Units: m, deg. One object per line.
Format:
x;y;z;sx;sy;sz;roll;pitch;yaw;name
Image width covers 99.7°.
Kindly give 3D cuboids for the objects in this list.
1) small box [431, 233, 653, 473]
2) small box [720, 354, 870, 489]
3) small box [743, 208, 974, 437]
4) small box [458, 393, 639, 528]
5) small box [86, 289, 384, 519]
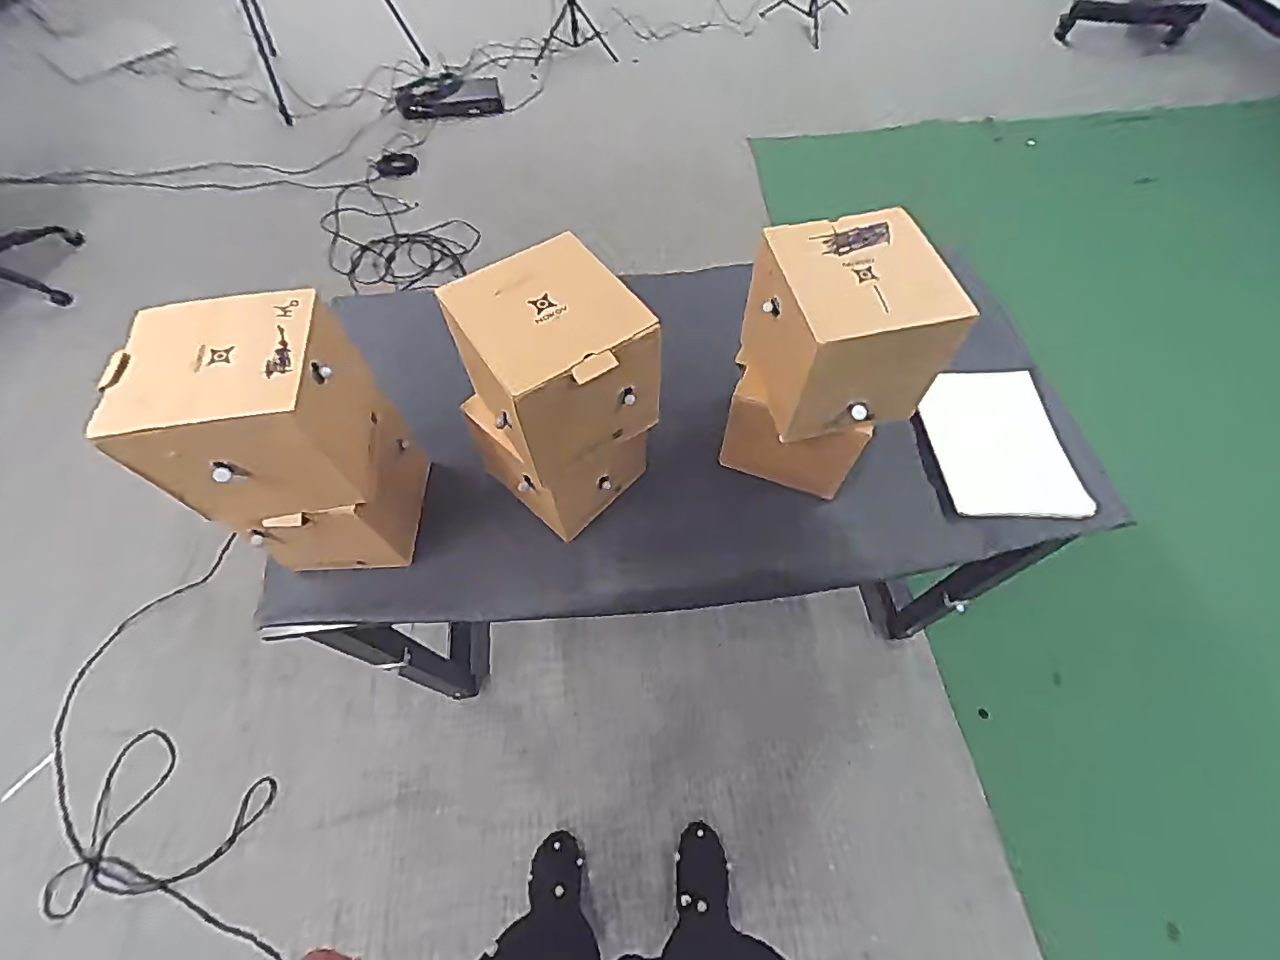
-0.098;-0.131;0.606;0.168;0.176;0.179;-32;64;-17;small box
0.226;-0.107;0.772;0.179;0.176;0.168;18;62;12;small box
0.227;-0.175;0.622;0.168;0.176;0.179;-11;61;-4;small box
-0.112;-0.055;0.750;0.179;0.176;0.168;38;67;20;small box
-0.402;-0.073;0.578;0.179;0.176;0.168;-10;59;-4;small box
